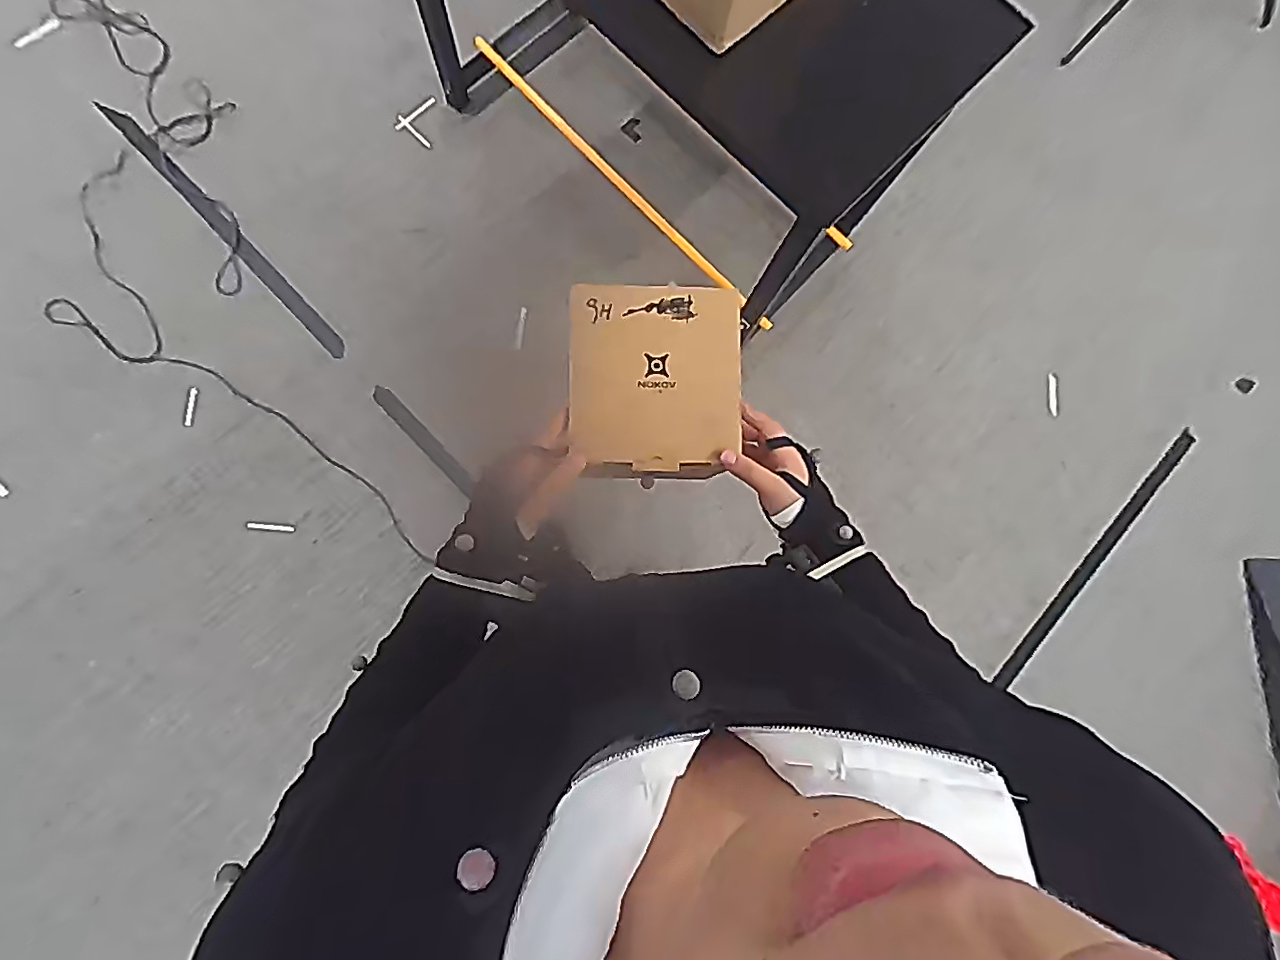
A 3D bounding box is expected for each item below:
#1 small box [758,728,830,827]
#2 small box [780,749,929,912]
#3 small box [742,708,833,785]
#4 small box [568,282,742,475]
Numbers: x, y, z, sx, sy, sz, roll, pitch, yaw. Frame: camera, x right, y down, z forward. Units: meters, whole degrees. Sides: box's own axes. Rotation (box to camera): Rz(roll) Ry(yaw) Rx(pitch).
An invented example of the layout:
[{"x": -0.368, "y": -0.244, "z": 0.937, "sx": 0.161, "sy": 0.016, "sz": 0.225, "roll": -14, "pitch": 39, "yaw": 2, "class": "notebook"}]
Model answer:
[{"x": 0.399, "y": 0.700, "z": 1.223, "sx": 0.179, "sy": 0.176, "sz": 0.168, "roll": 45, "pitch": 80, "yaw": 3, "class": "small box"}, {"x": 0.409, "y": 0.671, "z": 1.062, "sx": 0.168, "sy": 0.176, "sz": 0.179, "roll": -39, "pitch": 86, "yaw": -10, "class": "small box"}, {"x": 0.387, "y": 0.720, "z": 1.386, "sx": 0.168, "sy": 0.176, "sz": 0.179, "roll": 41, "pitch": 81, "yaw": 2, "class": "small box"}, {"x": 0.011, "y": -0.095, "z": 0.586, "sx": 0.168, "sy": 0.176, "sz": 0.179, "roll": 0, "pitch": 87, "yaw": -4, "class": "small box"}]
